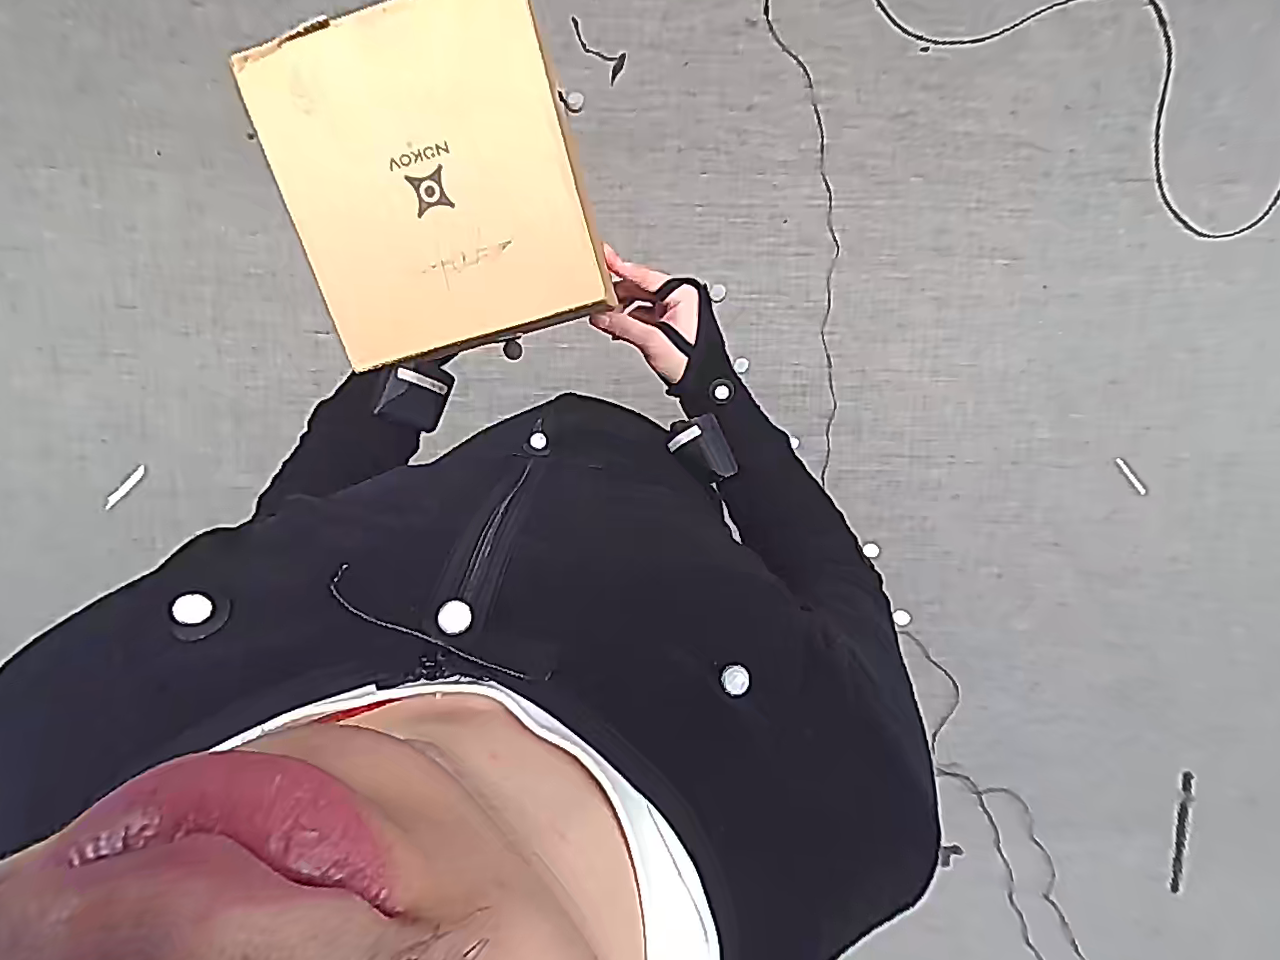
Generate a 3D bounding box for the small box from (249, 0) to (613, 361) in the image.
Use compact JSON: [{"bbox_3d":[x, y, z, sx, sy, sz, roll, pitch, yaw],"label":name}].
[{"bbox_3d":[-0.121,-0.195,0.395,0.168,0.176,0.179,-14,106,4],"label":"small box"}]
